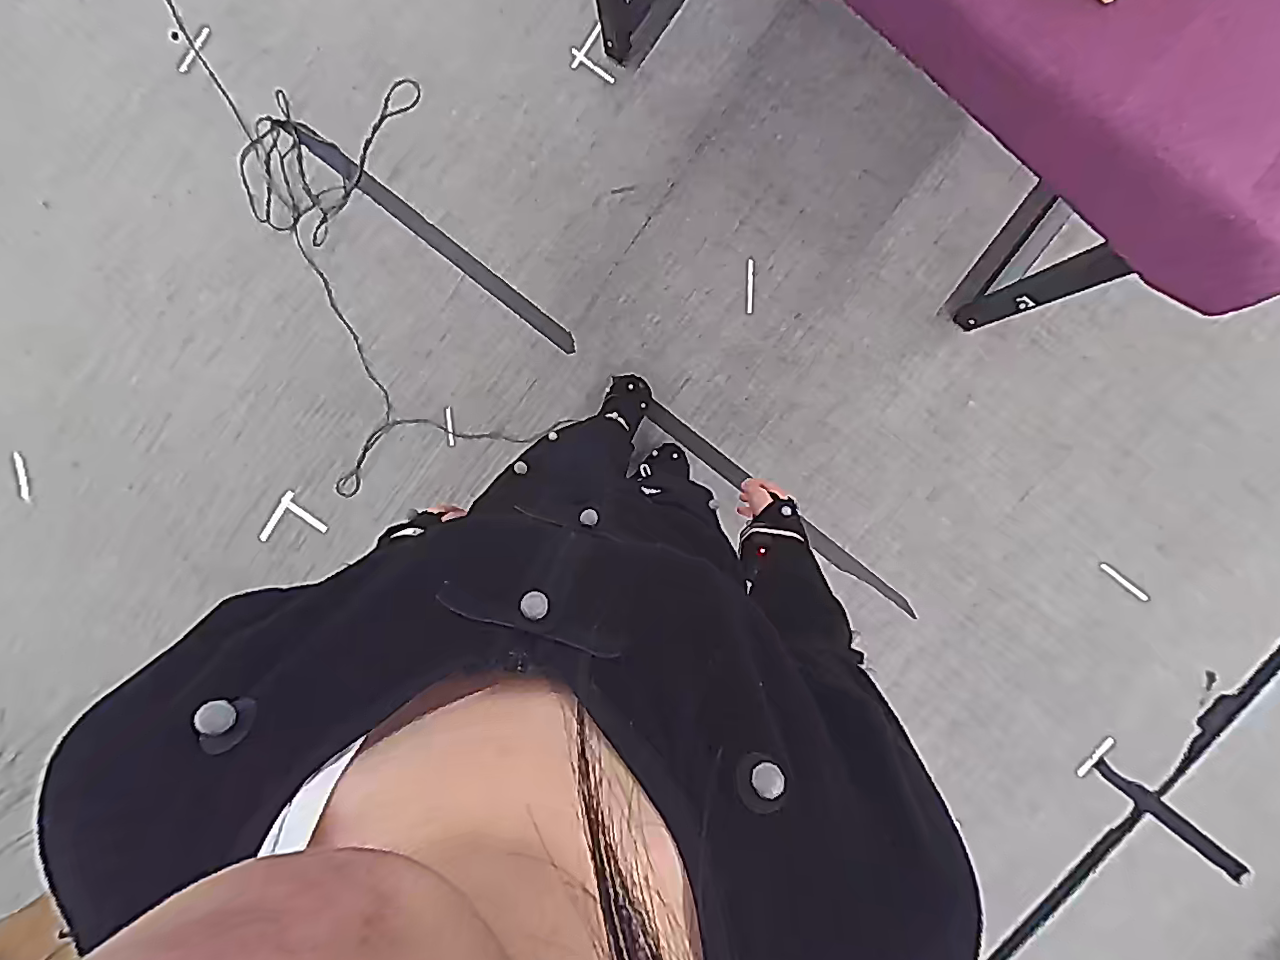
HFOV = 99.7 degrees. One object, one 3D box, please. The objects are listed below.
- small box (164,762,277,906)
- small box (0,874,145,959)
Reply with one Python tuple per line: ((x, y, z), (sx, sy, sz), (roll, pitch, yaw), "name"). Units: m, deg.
((-0.986, 0.800, 1.238), (0.168, 0.176, 0.179), (34, 95, -1), "small box")
((-1.004, 0.827, 0.913), (0.168, 0.176, 0.179), (29, 96, 2), "small box")
